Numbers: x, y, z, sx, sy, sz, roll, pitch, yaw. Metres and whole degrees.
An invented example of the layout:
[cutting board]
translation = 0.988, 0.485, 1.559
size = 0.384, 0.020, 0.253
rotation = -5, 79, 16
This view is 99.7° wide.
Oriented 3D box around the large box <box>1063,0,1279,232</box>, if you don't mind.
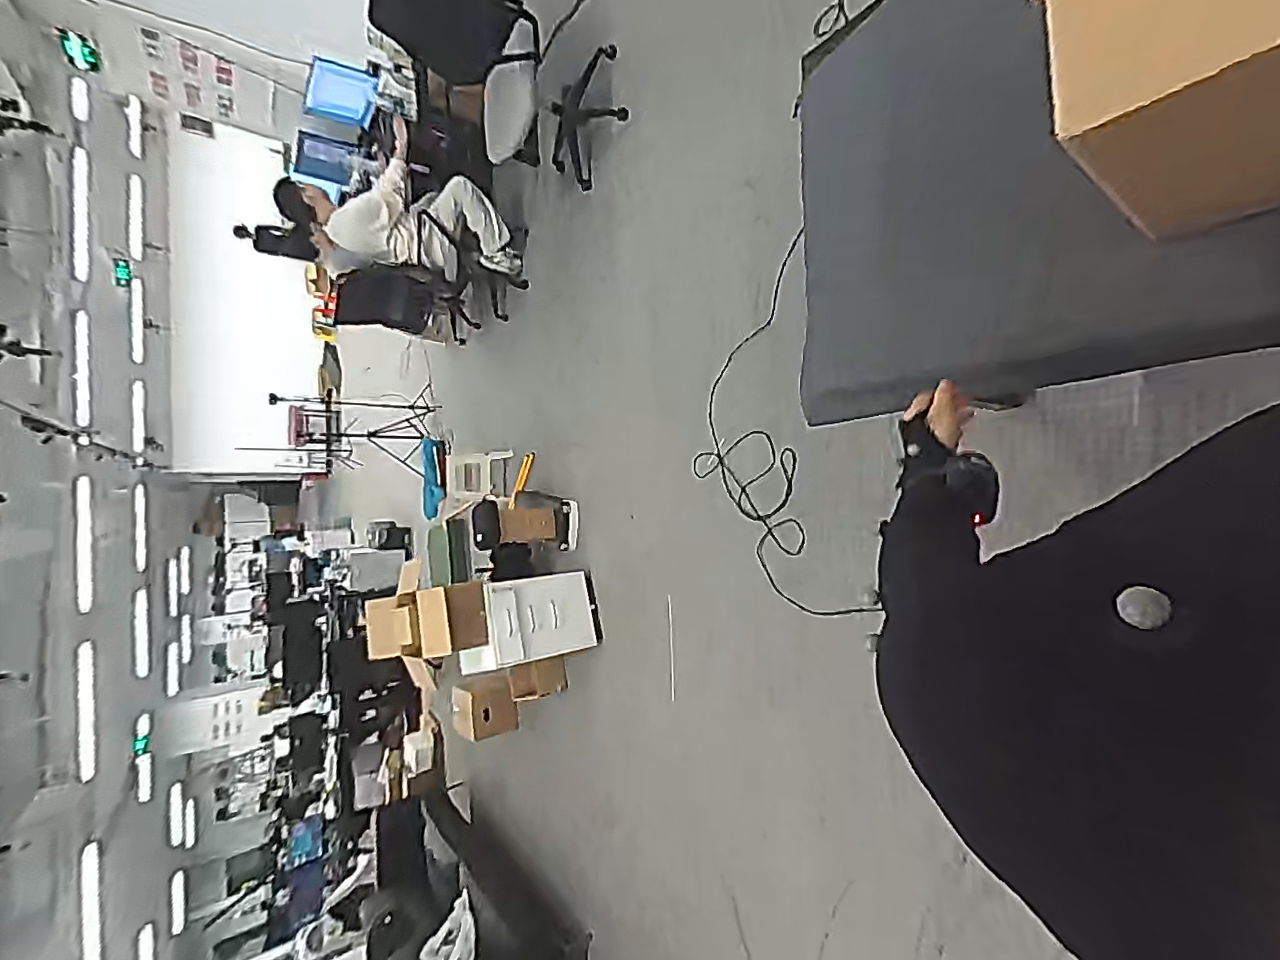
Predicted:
[large box]
translation = 0.570, -0.435, 0.365
size = 0.408, 0.320, 0.320
rotation = -5, 87, 53
